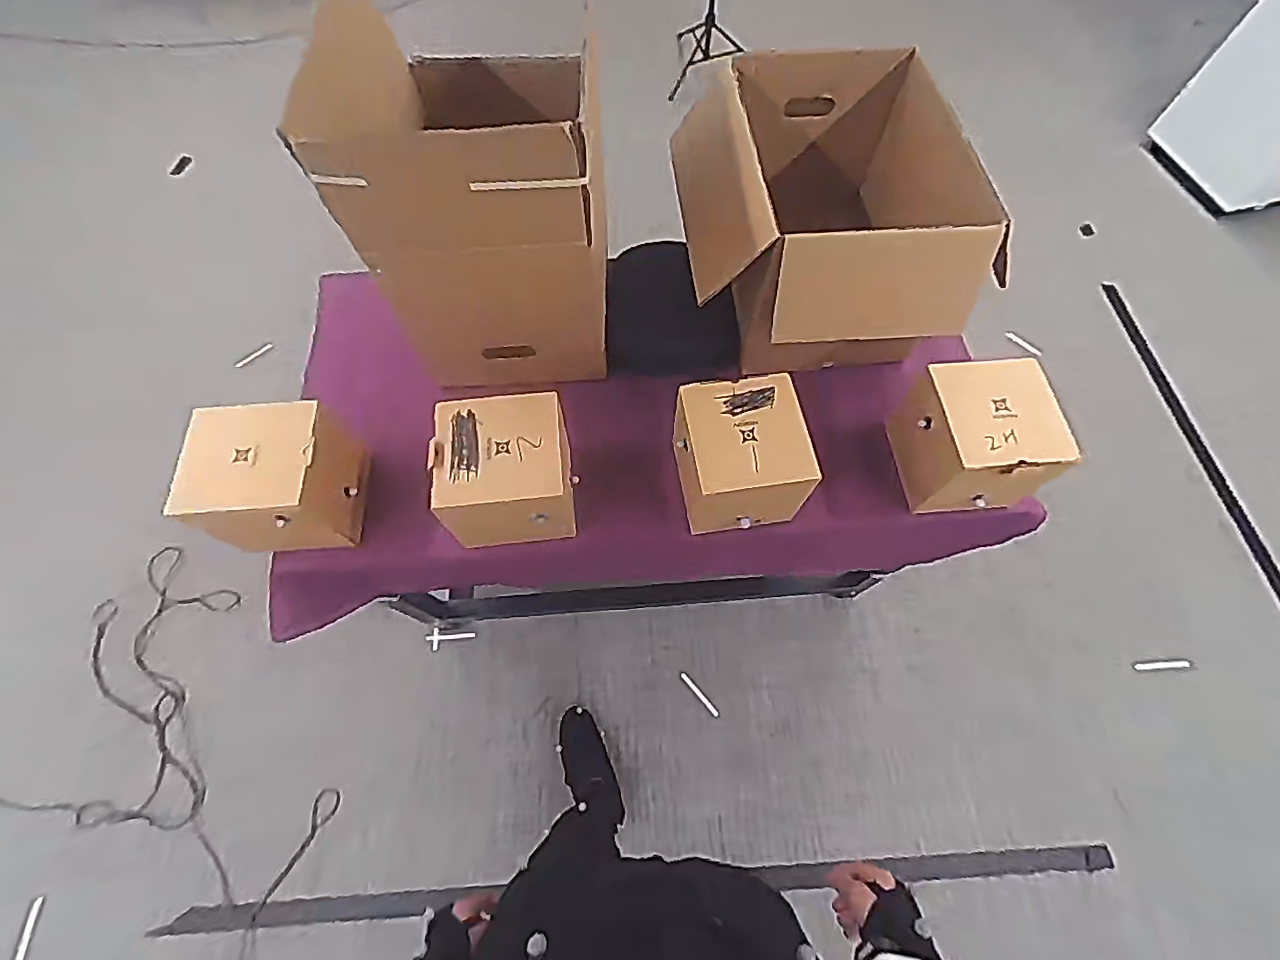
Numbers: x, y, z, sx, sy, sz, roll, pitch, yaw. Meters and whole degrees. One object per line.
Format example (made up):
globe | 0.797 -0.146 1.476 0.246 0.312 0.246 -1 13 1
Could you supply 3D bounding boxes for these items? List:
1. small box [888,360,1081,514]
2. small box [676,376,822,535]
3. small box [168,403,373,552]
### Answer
small box | 0.510 -0.061 0.835 0.168 0.176 0.179 -4 65 0
small box | 0.151 -0.032 0.824 0.168 0.176 0.179 -8 67 -3
small box | -0.531 0.004 0.807 0.179 0.176 0.168 -4 65 -3
